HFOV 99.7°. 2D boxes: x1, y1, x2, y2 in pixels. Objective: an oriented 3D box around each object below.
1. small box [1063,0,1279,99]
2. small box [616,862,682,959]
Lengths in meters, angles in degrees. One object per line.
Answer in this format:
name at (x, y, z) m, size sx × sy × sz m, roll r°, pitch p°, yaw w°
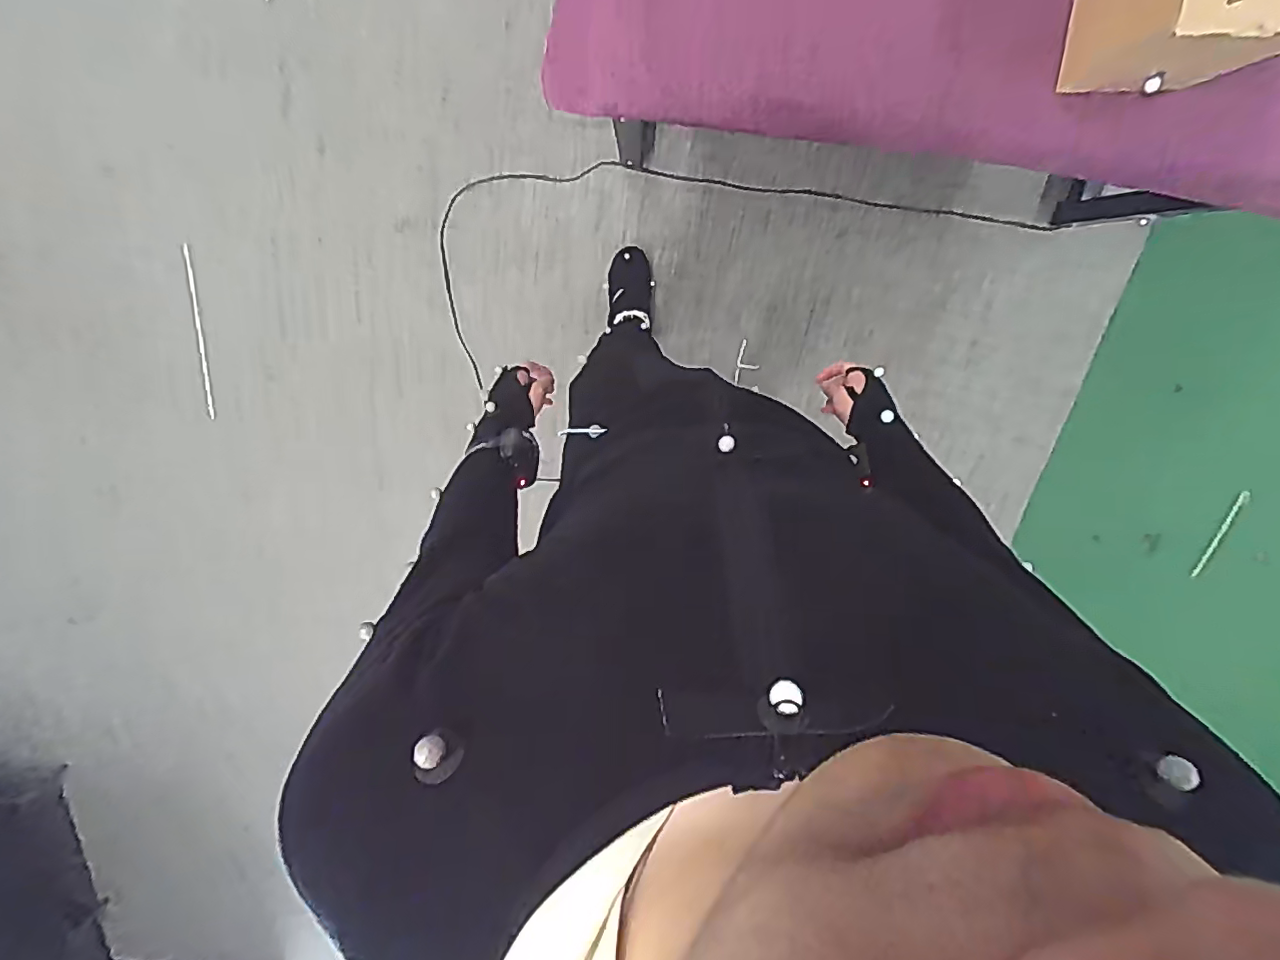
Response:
small box at (0.617, -0.550, 0.595) m, size 0.168 × 0.176 × 0.179 m, roll -1°, pitch 109°, yaw 1°
small box at (0.027, 1.292, 1.613) m, size 0.168 × 0.176 × 0.179 m, roll 10°, pitch 108°, yaw -2°
